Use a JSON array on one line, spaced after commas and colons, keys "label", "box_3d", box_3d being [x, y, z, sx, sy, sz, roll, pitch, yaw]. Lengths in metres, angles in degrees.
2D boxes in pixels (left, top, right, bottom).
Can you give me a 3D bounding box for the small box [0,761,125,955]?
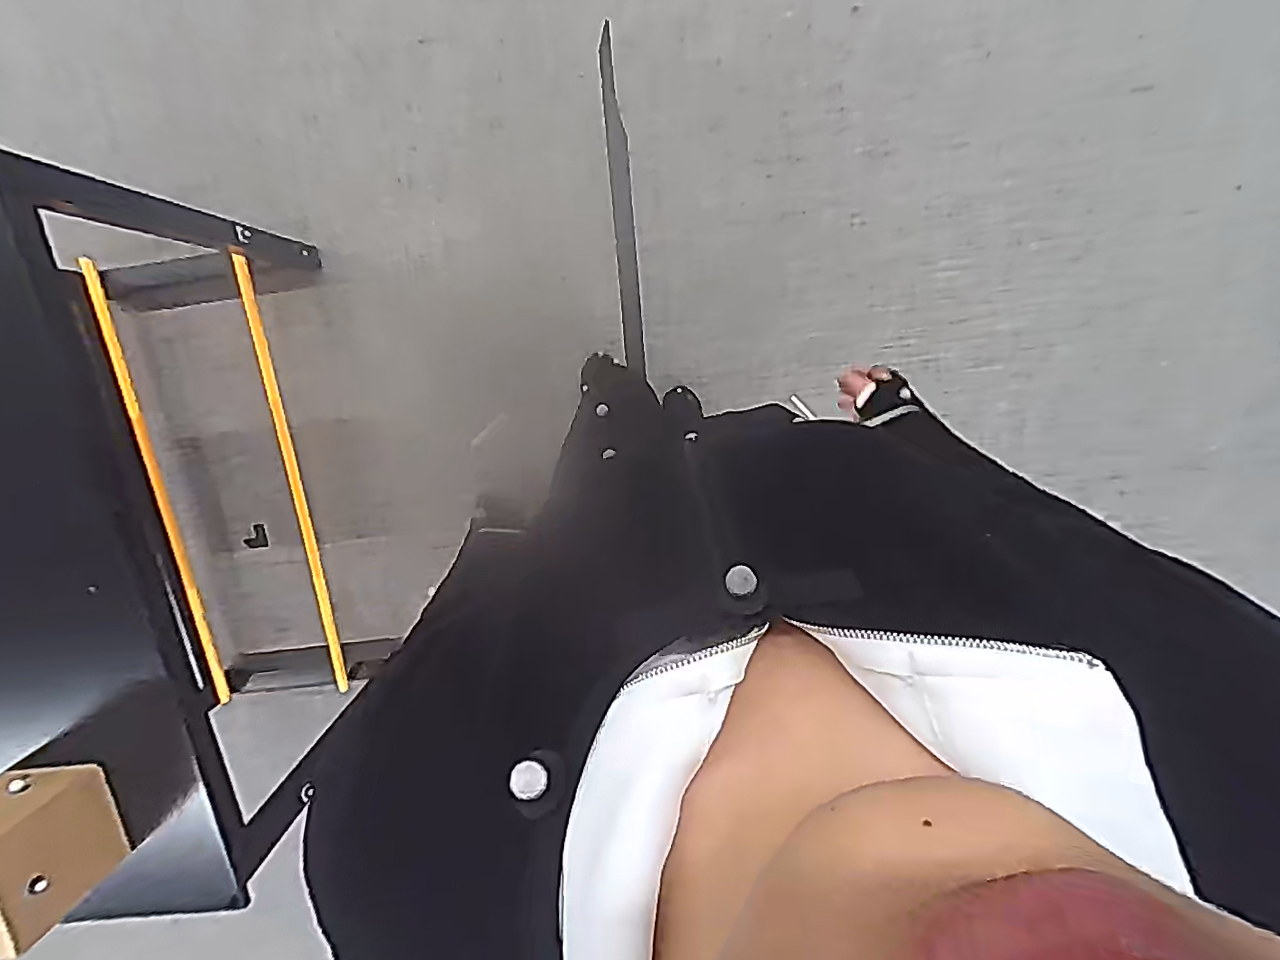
[{"label": "small box", "box_3d": [-0.935, 0.556, 0.806, 0.168, 0.176, 0.179, -5, 102, 2]}]
